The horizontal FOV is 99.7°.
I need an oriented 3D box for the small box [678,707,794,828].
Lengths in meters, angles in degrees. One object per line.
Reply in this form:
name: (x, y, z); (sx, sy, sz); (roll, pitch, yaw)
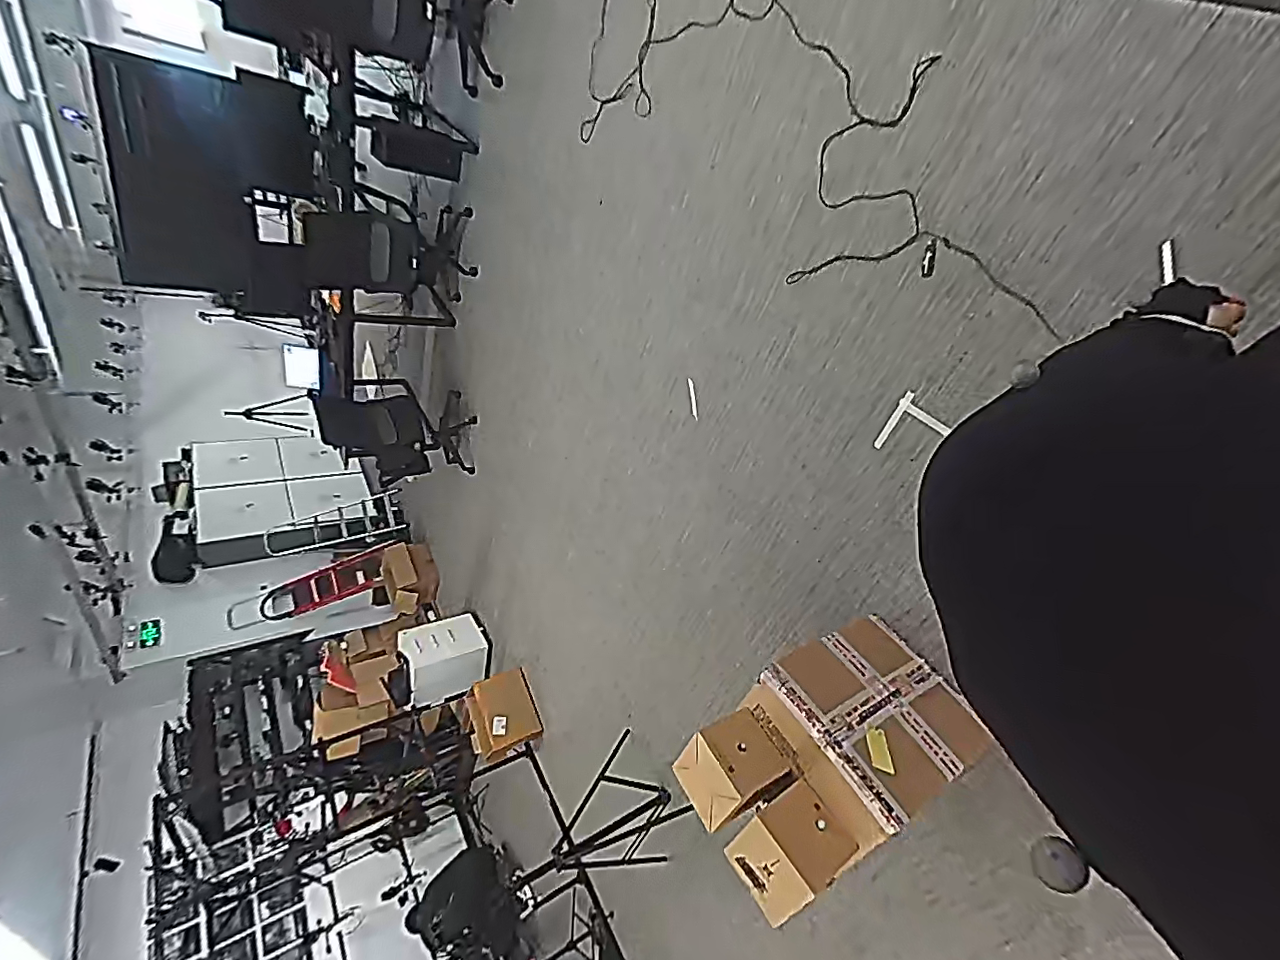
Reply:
small box: (0.219, 0.675, 1.271); (0.168, 0.176, 0.179); (52, 133, 38)

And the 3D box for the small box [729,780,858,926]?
small box: (0.328, 0.785, 1.151); (0.168, 0.176, 0.179); (47, 130, 35)
